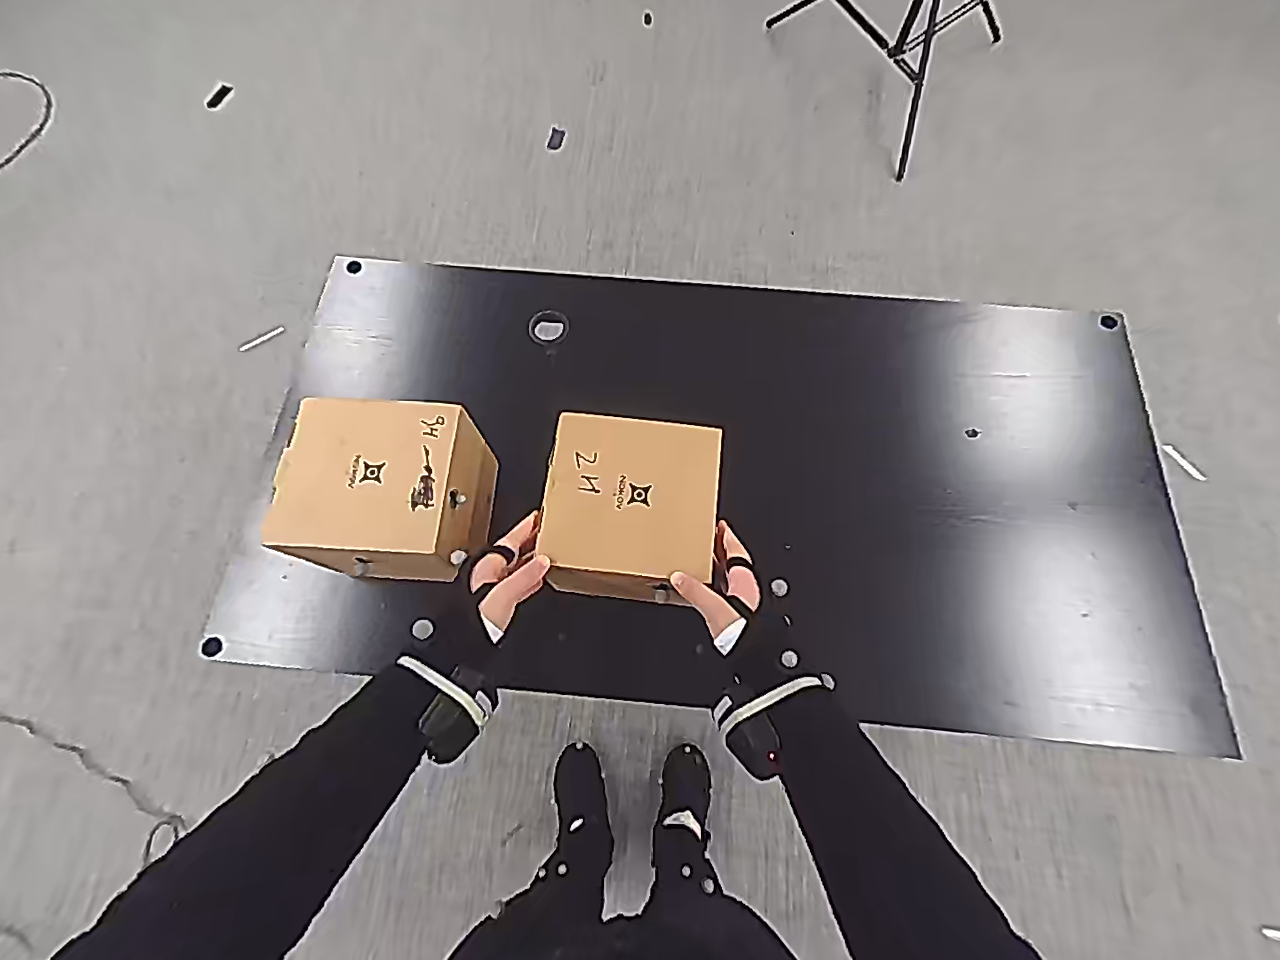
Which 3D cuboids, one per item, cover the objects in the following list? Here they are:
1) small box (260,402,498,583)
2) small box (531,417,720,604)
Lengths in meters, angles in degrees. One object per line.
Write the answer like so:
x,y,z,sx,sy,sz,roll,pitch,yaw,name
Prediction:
-0.283,0.023,0.631,0.179,0.176,0.168,2,70,1,small box
-0.011,0.045,0.622,0.179,0.176,0.168,6,70,3,small box
